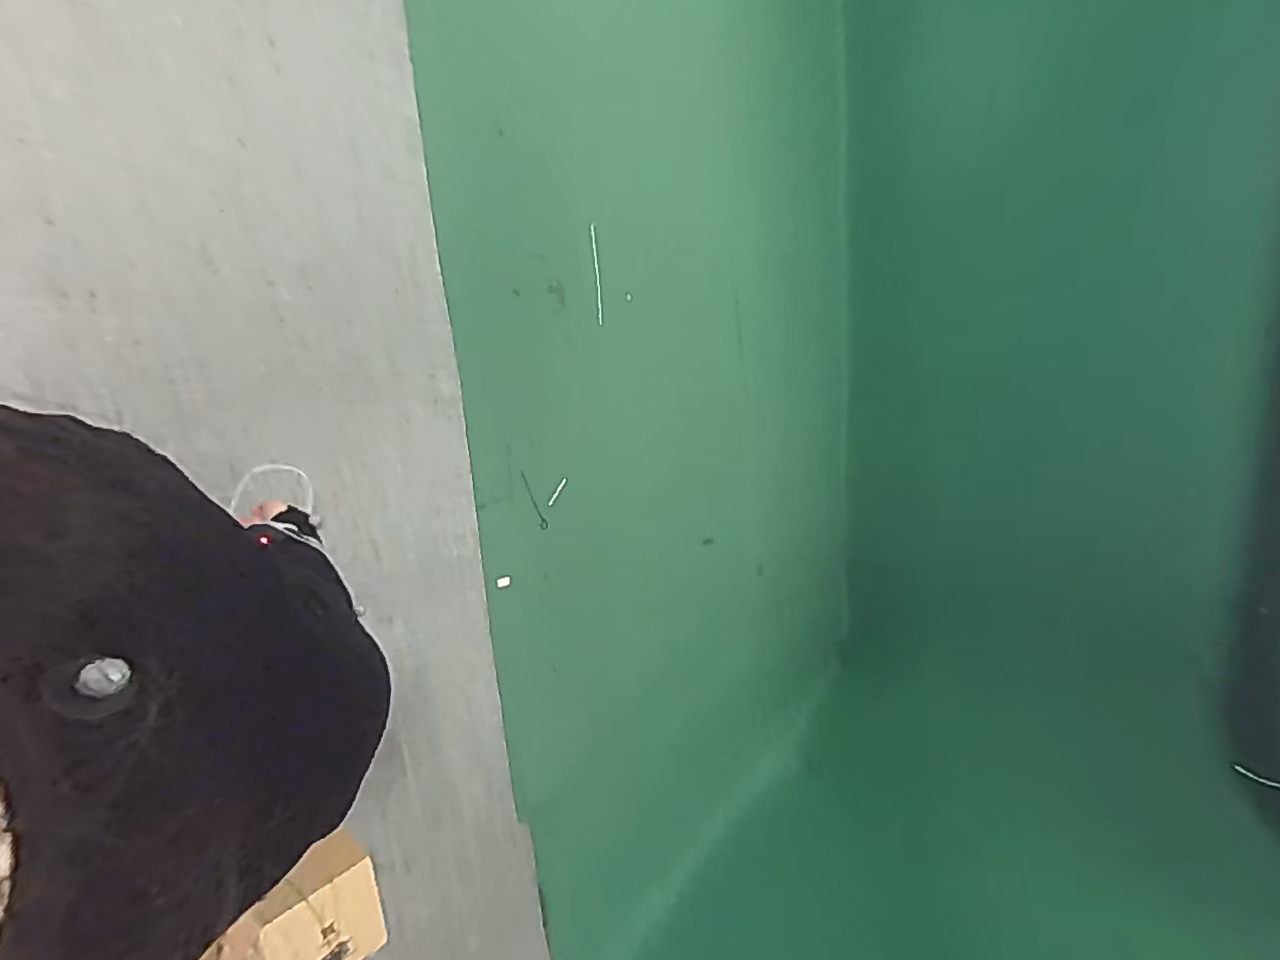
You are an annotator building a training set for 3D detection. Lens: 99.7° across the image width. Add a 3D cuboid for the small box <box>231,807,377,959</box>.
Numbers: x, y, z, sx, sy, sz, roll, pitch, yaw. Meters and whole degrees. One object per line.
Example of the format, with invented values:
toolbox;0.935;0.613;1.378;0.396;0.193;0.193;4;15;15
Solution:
small box;-0.593;0.731;0.955;0.168;0.176;0.179;-15;104;-46
